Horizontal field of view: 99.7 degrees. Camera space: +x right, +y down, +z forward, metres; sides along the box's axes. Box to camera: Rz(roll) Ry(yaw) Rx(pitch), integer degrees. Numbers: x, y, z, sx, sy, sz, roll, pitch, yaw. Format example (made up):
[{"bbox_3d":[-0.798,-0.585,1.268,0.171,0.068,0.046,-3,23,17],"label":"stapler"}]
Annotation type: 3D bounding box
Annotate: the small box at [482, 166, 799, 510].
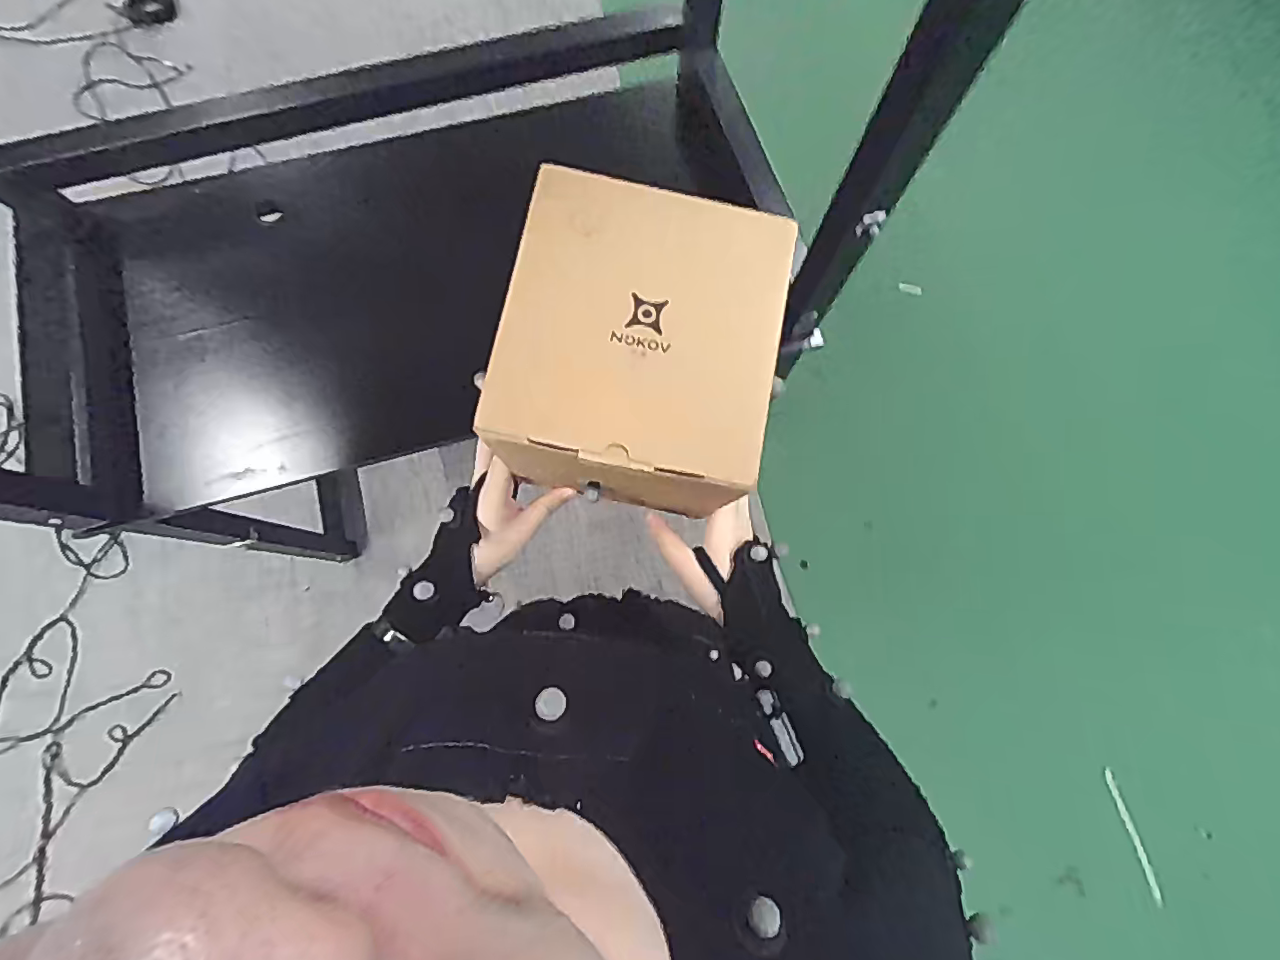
[{"bbox_3d":[-0.001,-0.083,0.404,0.168,0.176,0.179,12,81,-2],"label":"small box"}]
